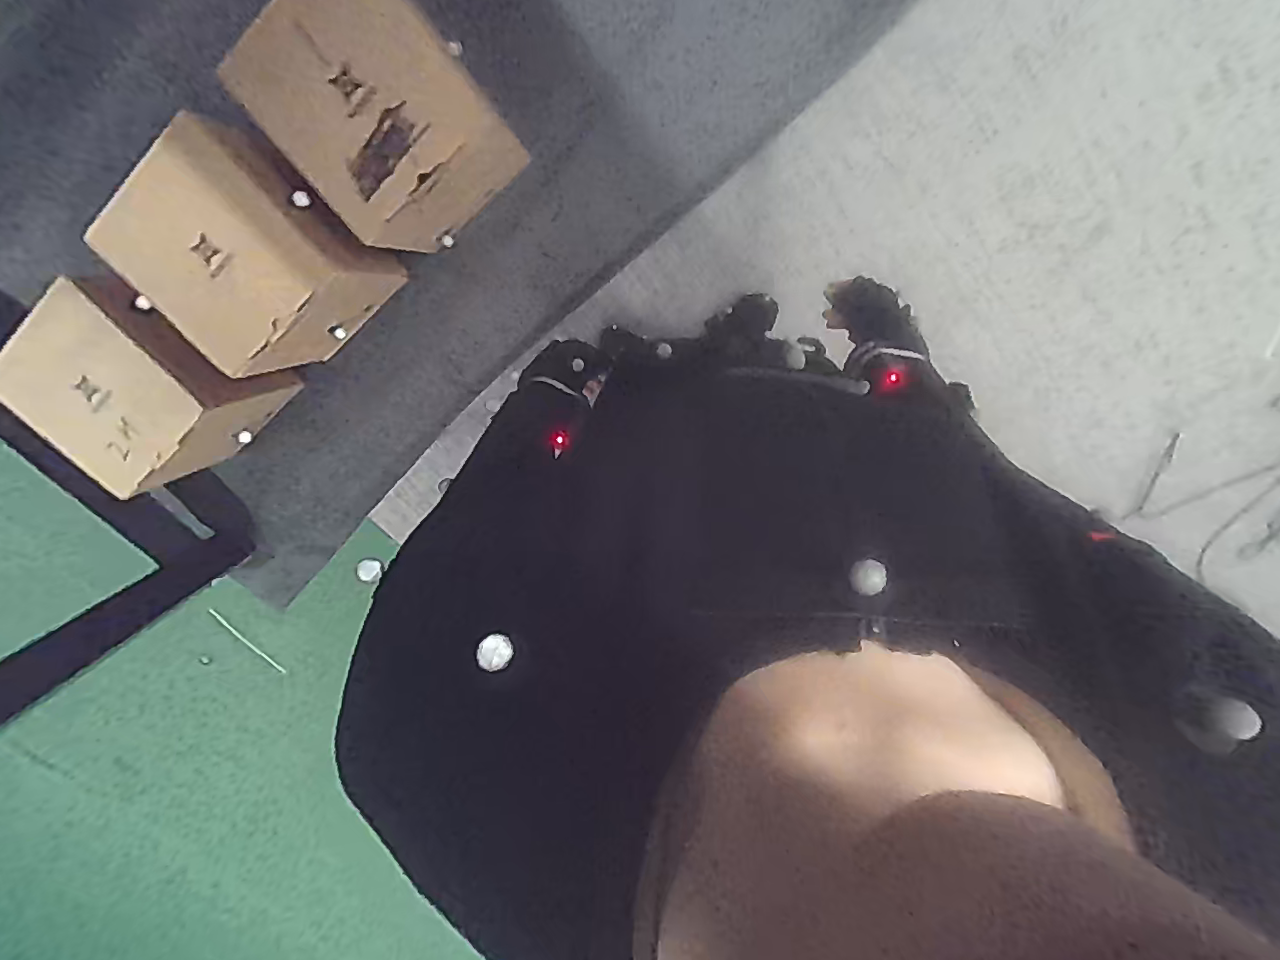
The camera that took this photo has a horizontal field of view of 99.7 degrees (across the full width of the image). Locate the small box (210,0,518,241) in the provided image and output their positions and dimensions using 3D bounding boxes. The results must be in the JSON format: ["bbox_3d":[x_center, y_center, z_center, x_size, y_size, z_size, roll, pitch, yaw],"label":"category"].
[{"bbox_3d":[-0.248,-0.361,0.536,0.168,0.176,0.179,-37,104,13],"label":"small box"}]
